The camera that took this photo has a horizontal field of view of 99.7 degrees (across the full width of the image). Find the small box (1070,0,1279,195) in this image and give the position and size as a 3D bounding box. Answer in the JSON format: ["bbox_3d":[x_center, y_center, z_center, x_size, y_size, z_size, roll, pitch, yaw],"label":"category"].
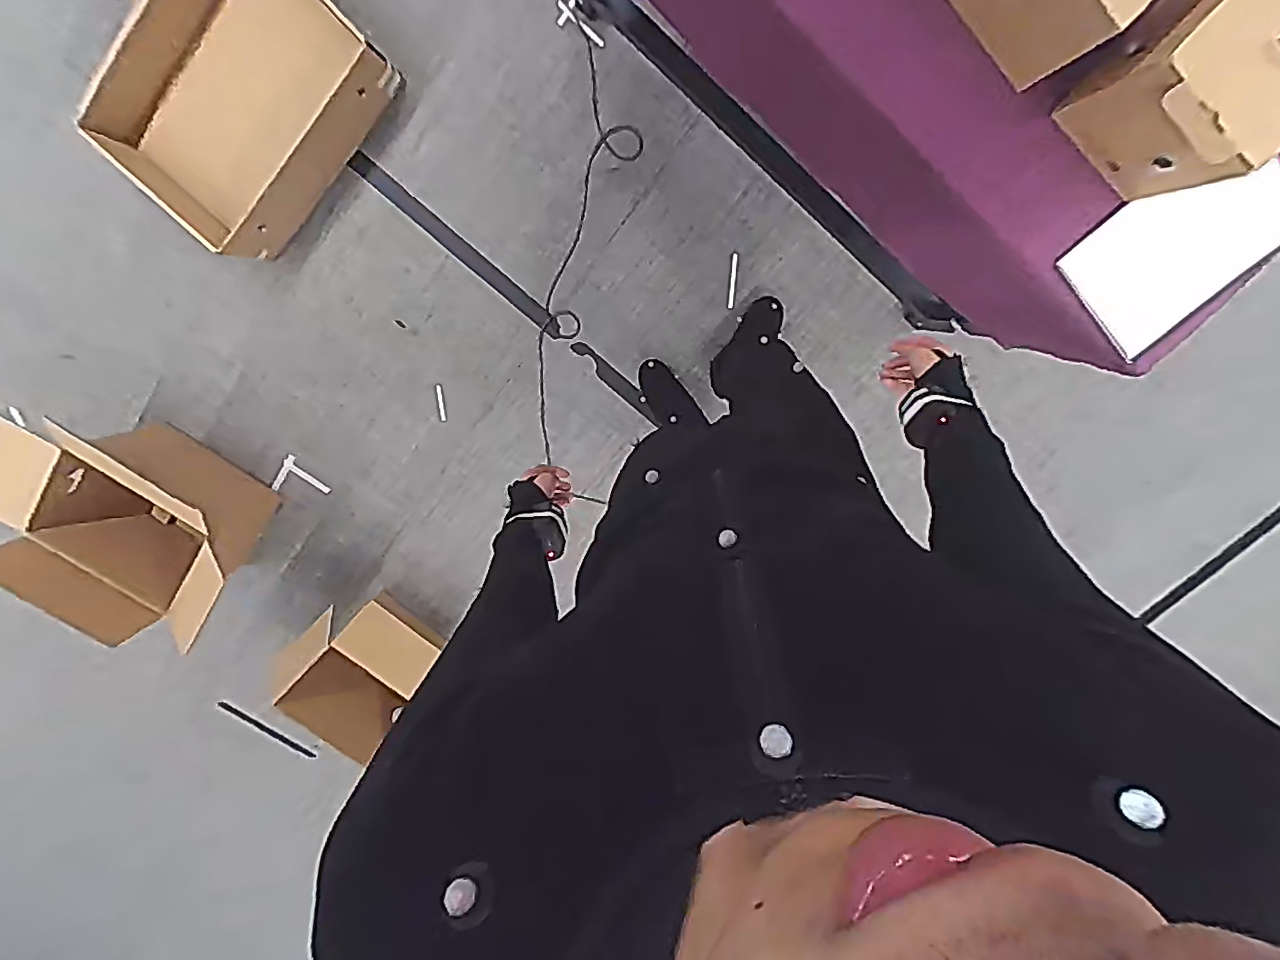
[{"bbox_3d":[0.647,-0.461,0.615,0.168,0.176,0.179,40,104,-11],"label":"small box"}]
